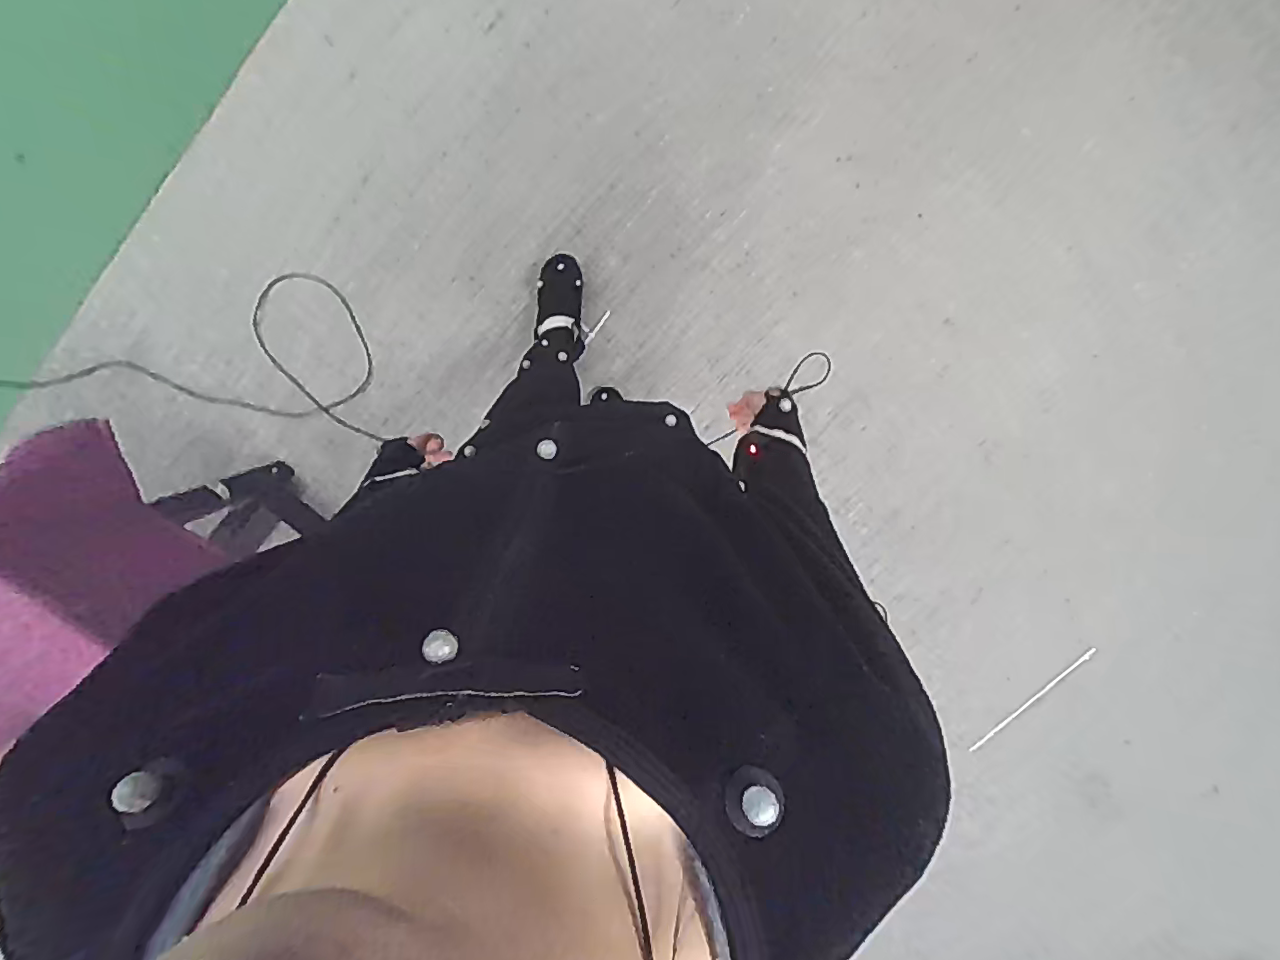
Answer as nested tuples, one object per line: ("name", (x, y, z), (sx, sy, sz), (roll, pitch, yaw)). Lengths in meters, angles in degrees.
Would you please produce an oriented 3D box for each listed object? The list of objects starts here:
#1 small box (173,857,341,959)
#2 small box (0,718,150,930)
("small box", (-0.625, 0.757, 0.862), (0.179, 0.176, 0.168), (39, 101, -8))
("small box", (-0.894, 0.493, 0.792), (0.179, 0.176, 0.168), (43, 99, -10))
